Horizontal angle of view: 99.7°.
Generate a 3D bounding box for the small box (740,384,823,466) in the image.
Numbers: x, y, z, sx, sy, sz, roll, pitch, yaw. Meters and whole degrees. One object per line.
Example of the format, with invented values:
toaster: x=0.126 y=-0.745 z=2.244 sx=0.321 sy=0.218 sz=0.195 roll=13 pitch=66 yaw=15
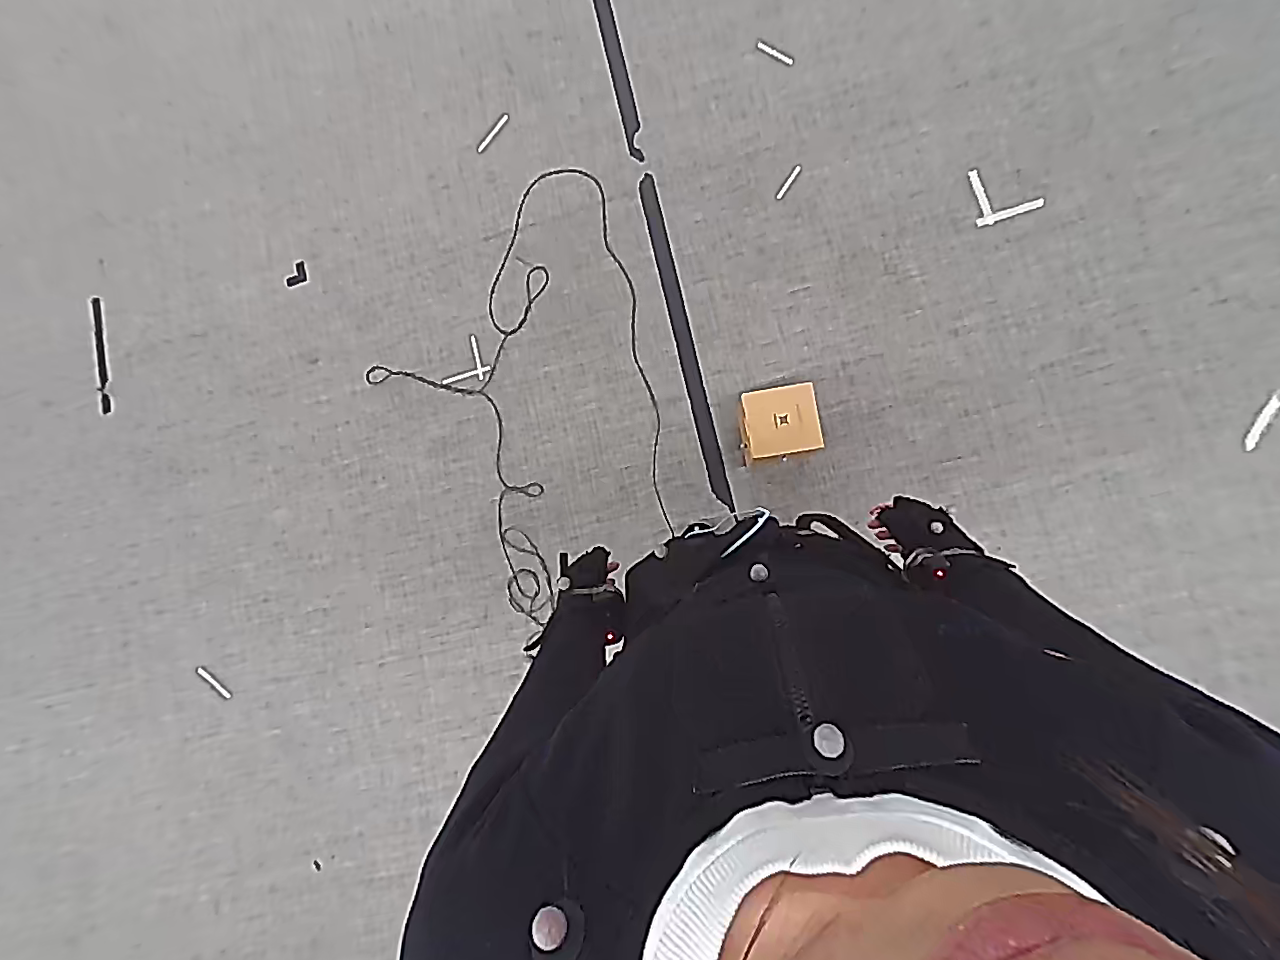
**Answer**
small box: x=0.355 y=-0.135 z=1.393 sx=0.179 sy=0.176 sz=0.168 roll=-9 pitch=84 yaw=6
